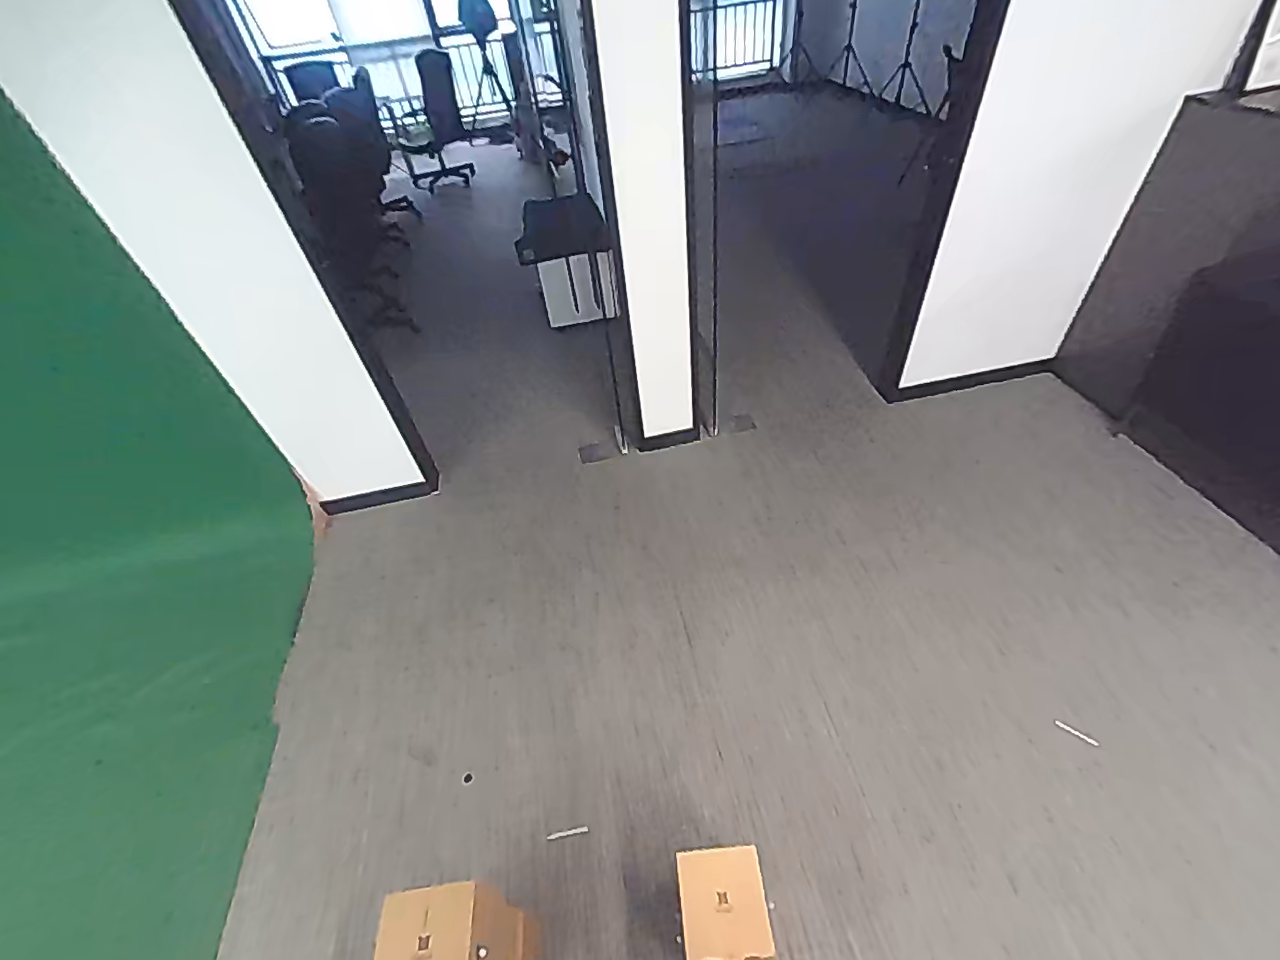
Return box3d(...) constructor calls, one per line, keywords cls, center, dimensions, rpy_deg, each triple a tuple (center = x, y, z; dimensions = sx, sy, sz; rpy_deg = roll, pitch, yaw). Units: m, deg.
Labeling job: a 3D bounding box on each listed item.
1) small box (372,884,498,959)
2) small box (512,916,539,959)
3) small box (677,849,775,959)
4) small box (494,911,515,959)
box3d(cls="small box", center=(-0.357, 0.845, 0.956), dimensions=(0.168, 0.176, 0.179), rpy_deg=(-8, 45, -1))
box3d(cls="small box", center=(-0.331, 1.079, 1.184), dimensions=(0.179, 0.176, 0.168), rpy_deg=(-7, 45, 0))
box3d(cls="small box", center=(0.164, 0.874, 1.092), dimensions=(0.168, 0.176, 0.179), rpy_deg=(-6, 45, 0))
box3d(cls="small box", center=(-0.350, 0.968, 1.066), dimensions=(0.168, 0.176, 0.179), rpy_deg=(-7, 46, 0))
